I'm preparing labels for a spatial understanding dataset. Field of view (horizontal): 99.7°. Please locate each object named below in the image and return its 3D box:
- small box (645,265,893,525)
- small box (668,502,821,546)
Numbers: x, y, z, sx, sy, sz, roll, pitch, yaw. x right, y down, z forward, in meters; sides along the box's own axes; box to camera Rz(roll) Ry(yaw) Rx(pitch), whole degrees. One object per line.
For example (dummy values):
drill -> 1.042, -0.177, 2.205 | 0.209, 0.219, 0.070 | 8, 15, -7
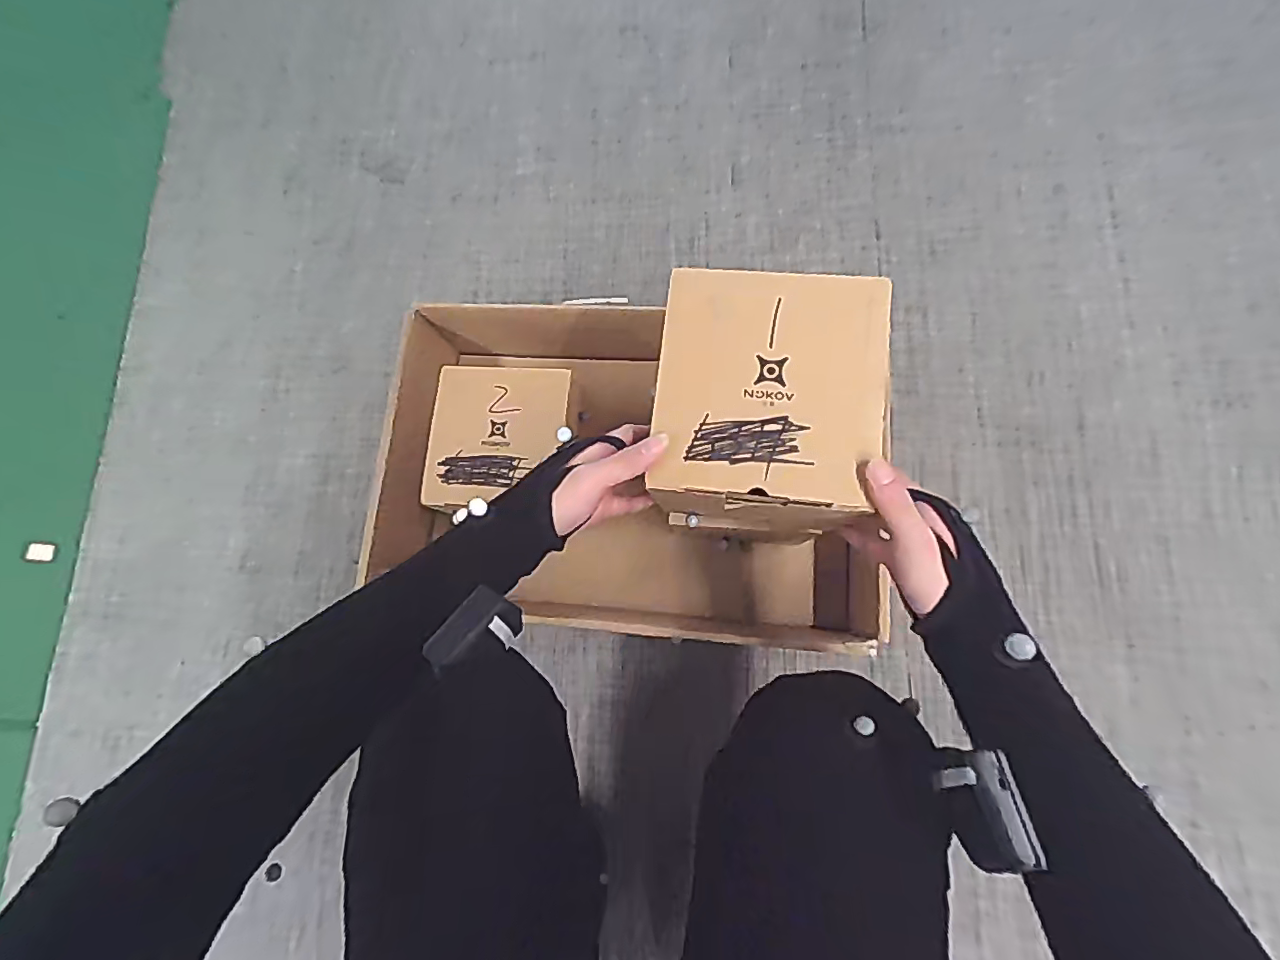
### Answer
small box -> 0.104, -0.060, 0.473 | 0.168, 0.176, 0.179 | 6, 80, 7
small box -> 0.128, -0.018, 0.673 | 0.168, 0.176, 0.179 | 4, 79, 8
